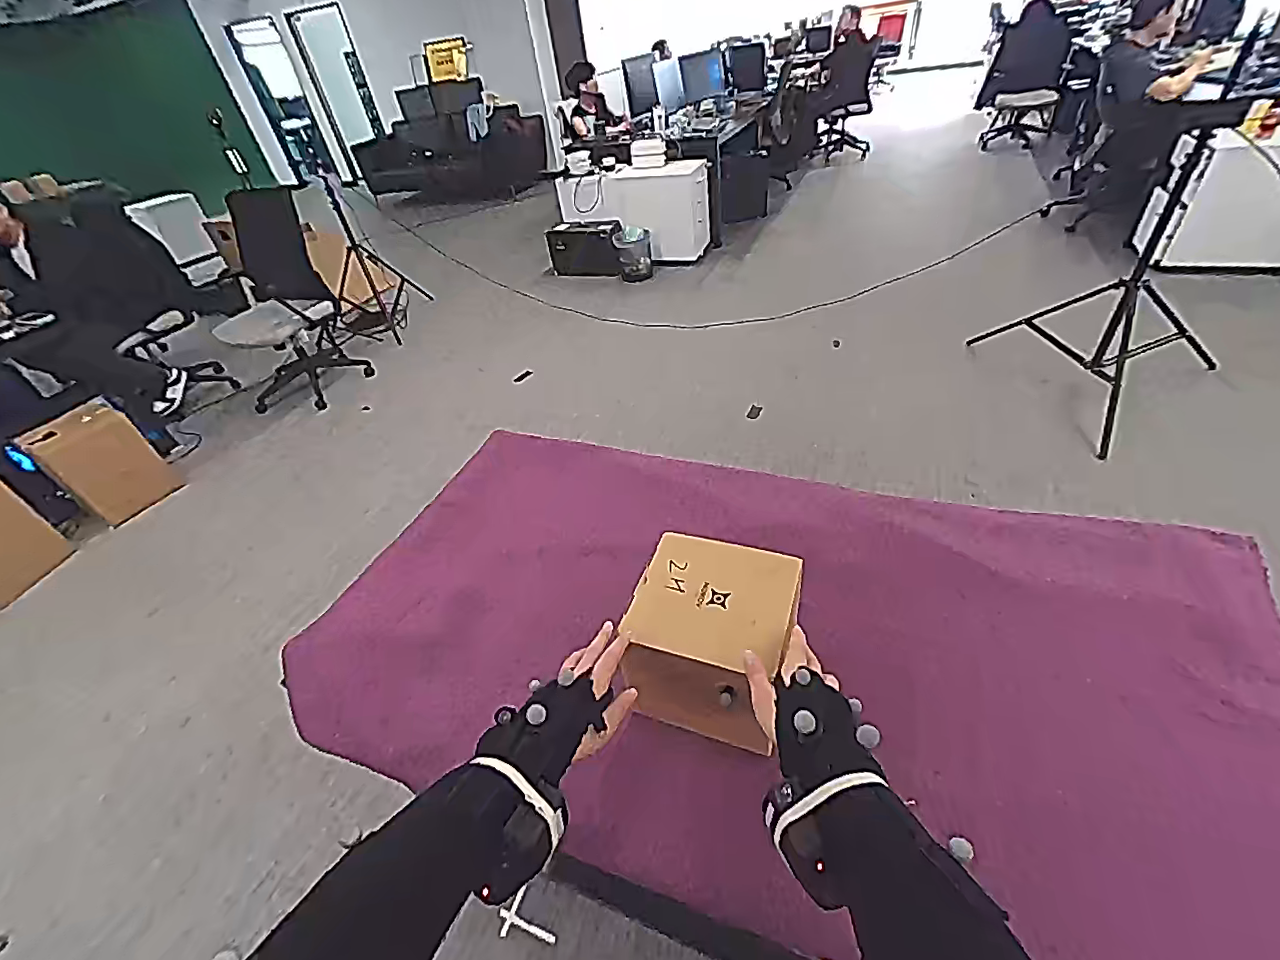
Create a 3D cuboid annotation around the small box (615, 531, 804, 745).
[{"bbox_3d":[0.091,0.190,0.655,0.179,0.176,0.168,9,42,21],"label":"small box"}]
